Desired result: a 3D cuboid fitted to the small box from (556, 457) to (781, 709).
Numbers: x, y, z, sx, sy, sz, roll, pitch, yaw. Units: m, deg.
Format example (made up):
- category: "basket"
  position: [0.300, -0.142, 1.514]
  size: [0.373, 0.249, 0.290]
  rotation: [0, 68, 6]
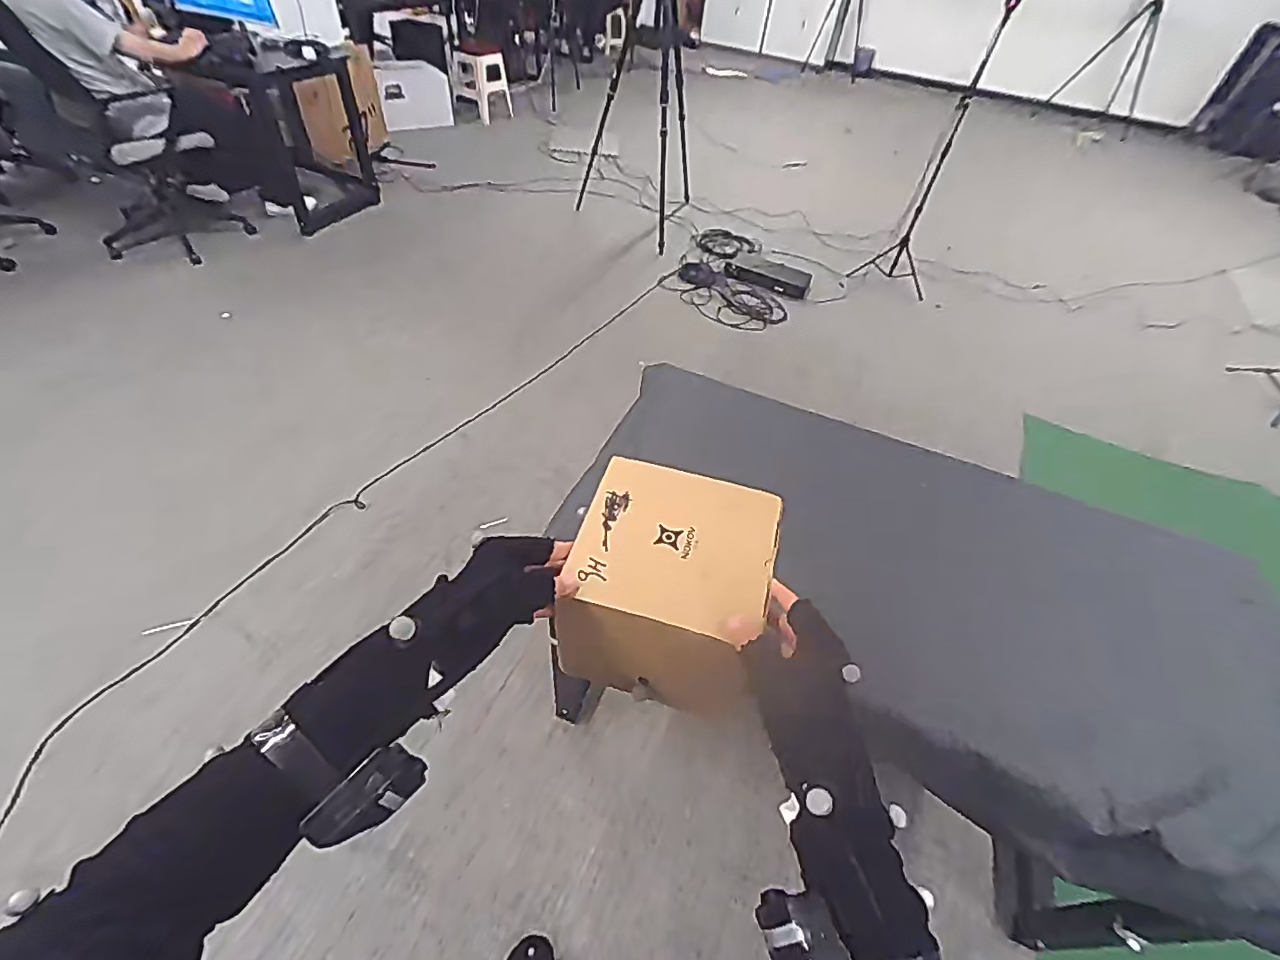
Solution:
- category: "small box"
  position: [0.027, 0.109, 0.550]
  size: [0.179, 0.176, 0.168]
  rotation: [16, 48, 7]
